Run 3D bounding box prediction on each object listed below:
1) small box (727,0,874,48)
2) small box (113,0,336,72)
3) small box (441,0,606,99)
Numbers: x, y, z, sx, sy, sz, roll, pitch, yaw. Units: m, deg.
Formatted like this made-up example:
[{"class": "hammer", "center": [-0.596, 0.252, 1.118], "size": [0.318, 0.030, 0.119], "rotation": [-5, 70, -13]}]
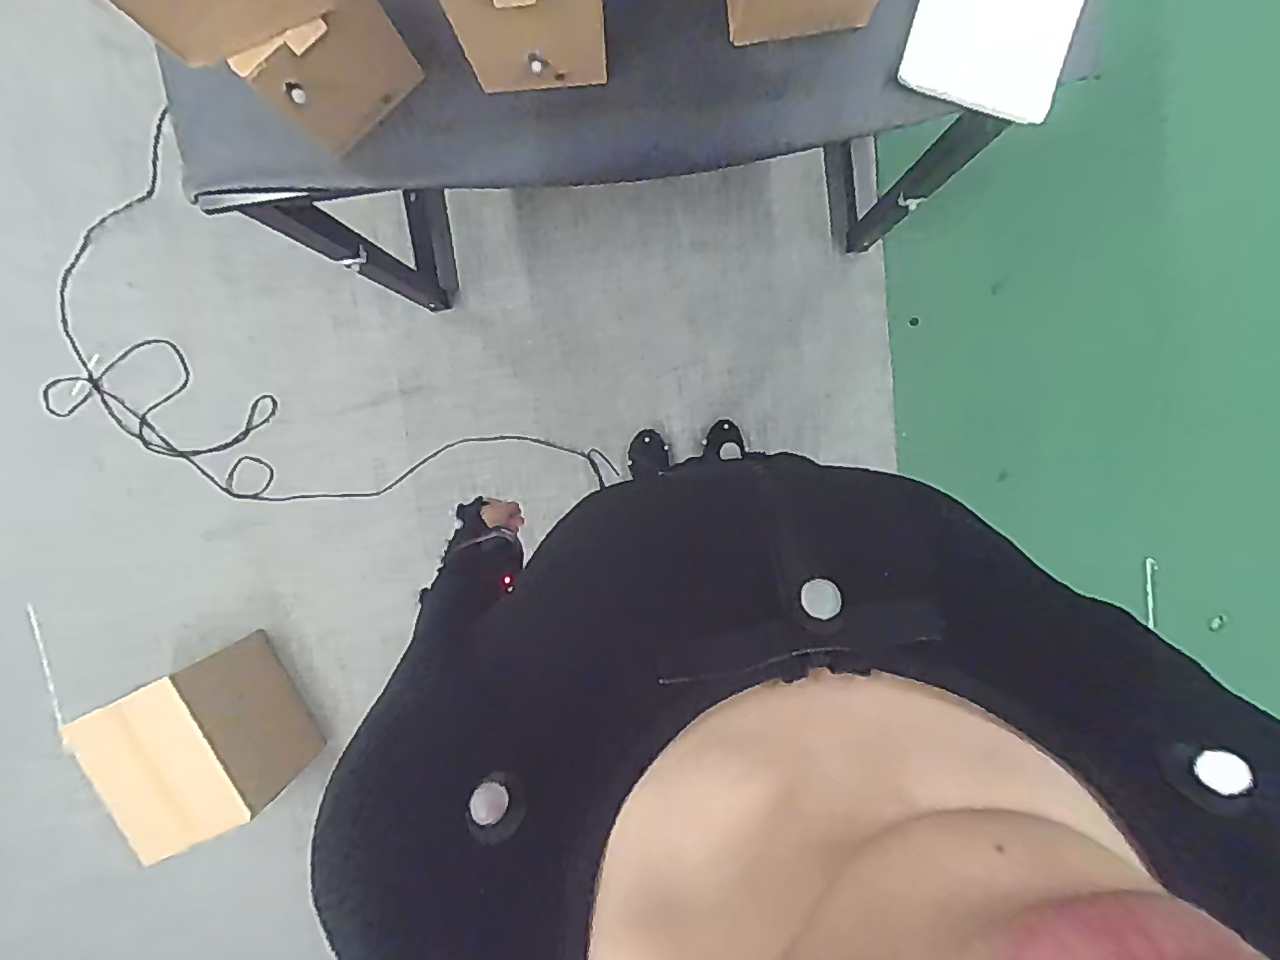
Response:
[{"class": "small box", "center": [0.194, -0.645, 0.617], "size": [0.179, 0.176, 0.168], "rotation": [-7, 93, 4]}, {"class": "small box", "center": [-0.418, -0.523, 0.485], "size": [0.179, 0.176, 0.168], "rotation": [-21, 93, 5]}, {"class": "small box", "center": [-0.133, -0.593, 0.633], "size": [0.168, 0.176, 0.179], "rotation": [-3, 94, 3]}]
